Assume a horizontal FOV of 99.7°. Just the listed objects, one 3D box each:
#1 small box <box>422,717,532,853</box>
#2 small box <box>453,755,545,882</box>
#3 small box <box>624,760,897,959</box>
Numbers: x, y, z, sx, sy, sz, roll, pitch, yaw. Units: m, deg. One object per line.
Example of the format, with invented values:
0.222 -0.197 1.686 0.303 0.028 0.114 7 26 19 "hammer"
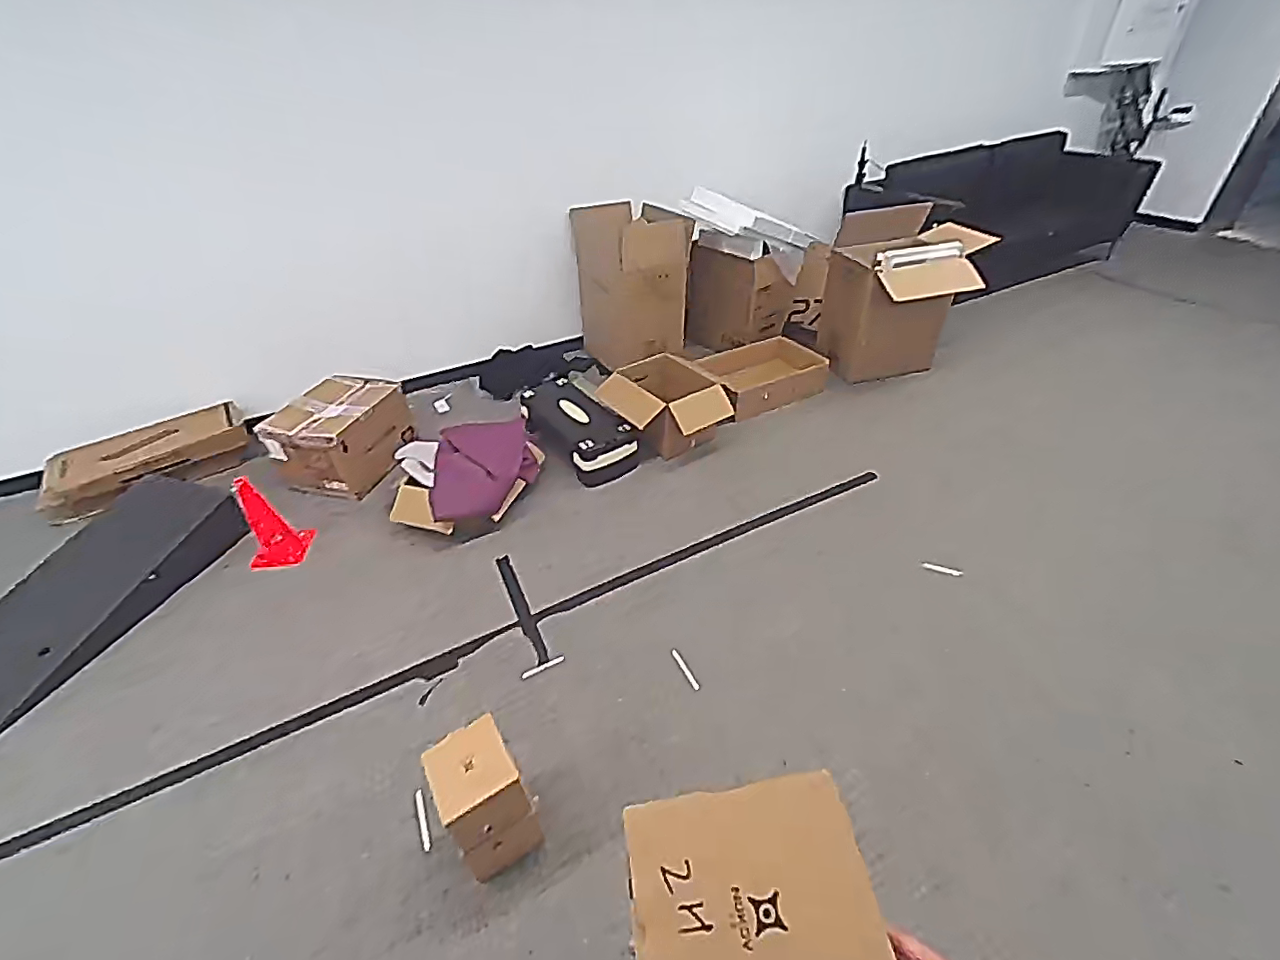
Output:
-0.358 0.676 1.199 0.168 0.176 0.179 -25 44 -24 "small box"
-0.346 0.810 1.292 0.179 0.176 0.168 -22 42 -22 "small box"
0.088 0.357 0.450 0.179 0.176 0.168 -10 47 -2 "small box"
